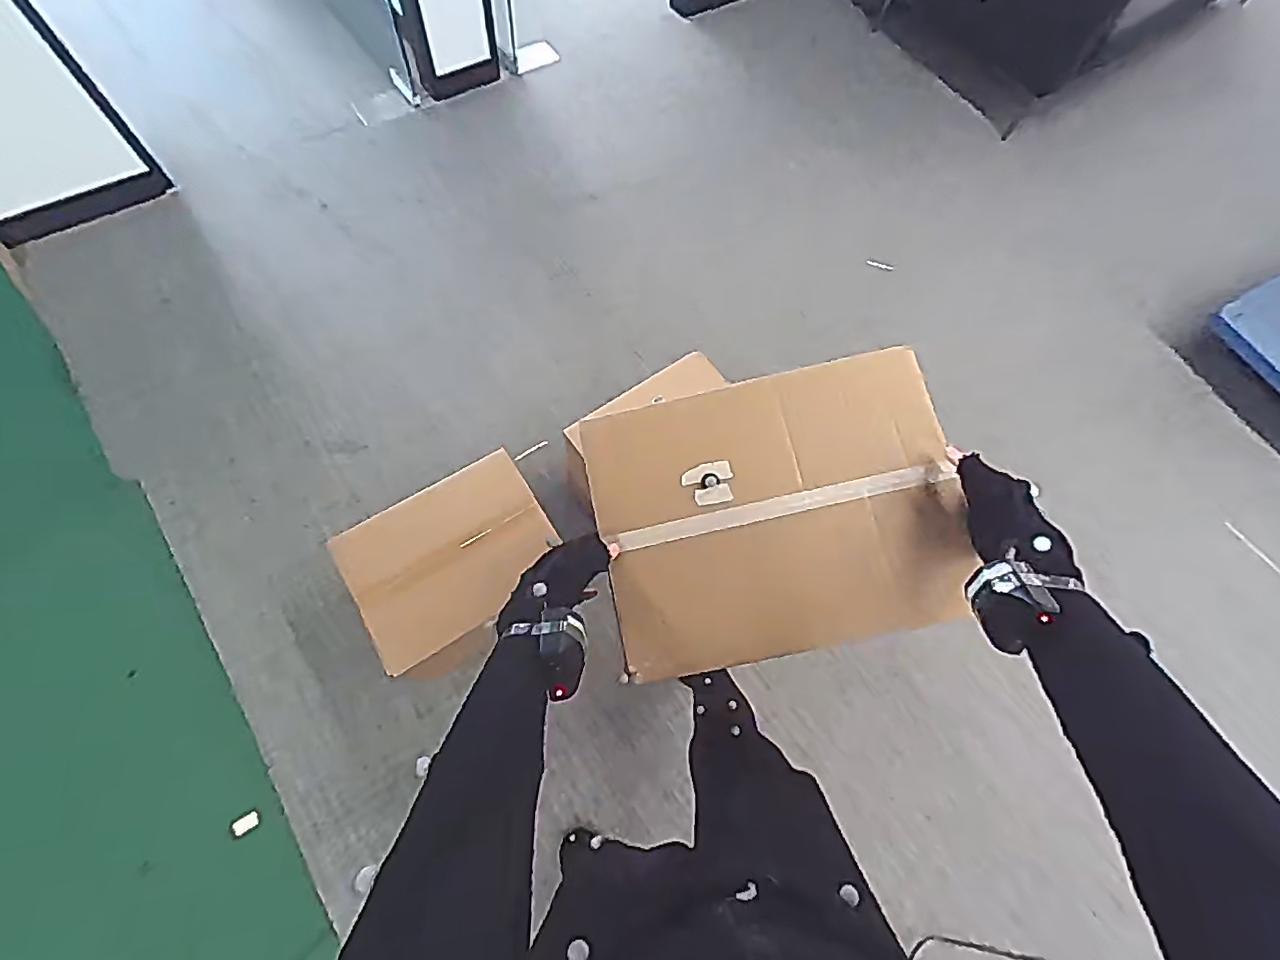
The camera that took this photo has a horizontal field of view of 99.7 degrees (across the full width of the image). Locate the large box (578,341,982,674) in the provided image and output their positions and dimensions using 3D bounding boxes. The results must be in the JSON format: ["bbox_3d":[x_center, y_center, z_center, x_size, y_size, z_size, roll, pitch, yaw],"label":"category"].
[{"bbox_3d":[0.163,0.051,0.766,0.408,0.320,0.320,-13,78,4],"label":"large box"}]
